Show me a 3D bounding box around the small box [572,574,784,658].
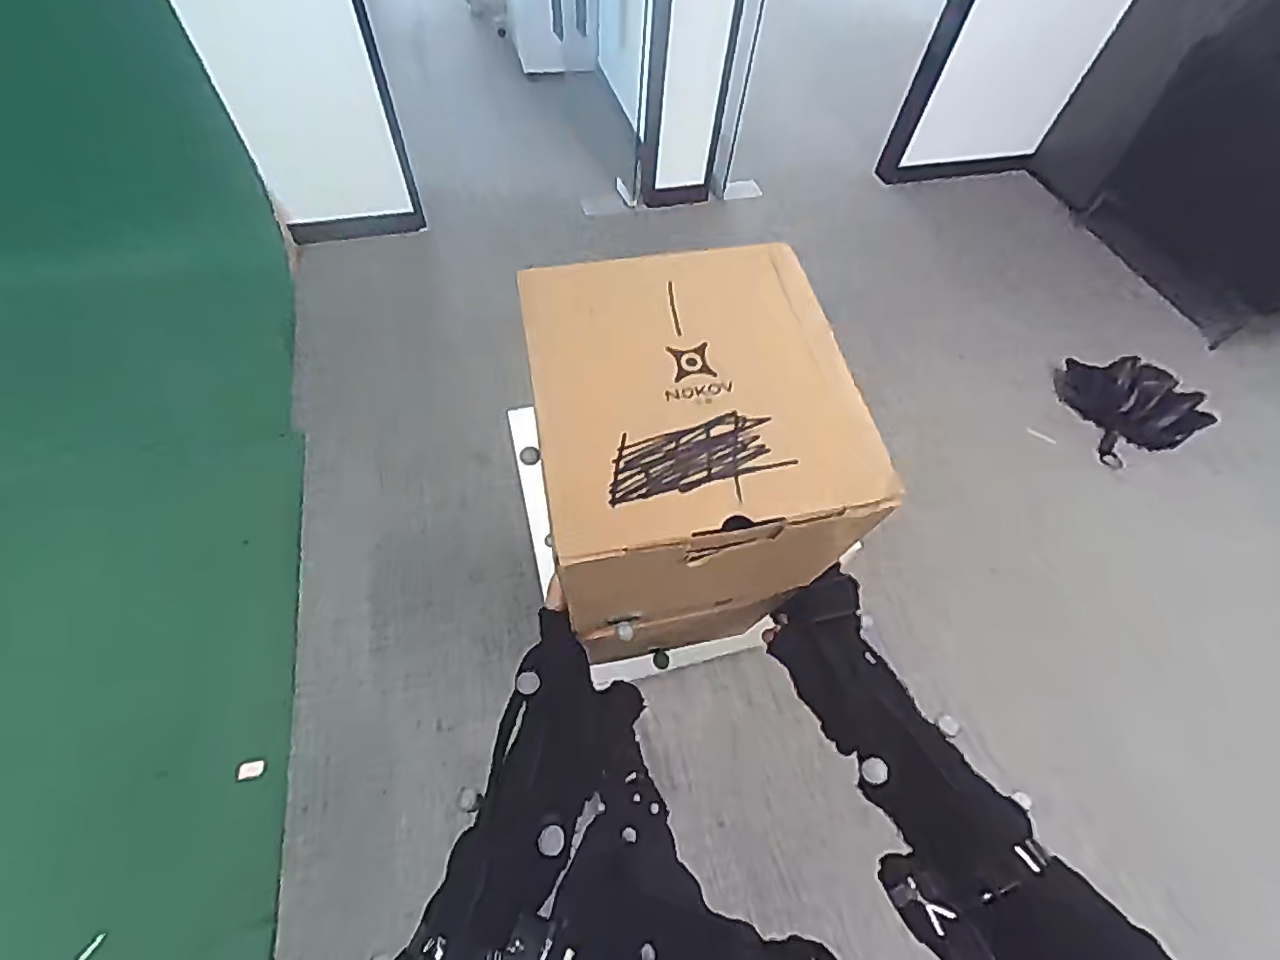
[{"bbox_3d":[0.011,0.054,0.512,0.168,0.176,0.179,-11,66,-7],"label":"small box"}]

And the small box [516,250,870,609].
[{"bbox_3d":[0.018,-0.021,0.366,0.168,0.176,0.179,-9,63,-7],"label":"small box"}]
